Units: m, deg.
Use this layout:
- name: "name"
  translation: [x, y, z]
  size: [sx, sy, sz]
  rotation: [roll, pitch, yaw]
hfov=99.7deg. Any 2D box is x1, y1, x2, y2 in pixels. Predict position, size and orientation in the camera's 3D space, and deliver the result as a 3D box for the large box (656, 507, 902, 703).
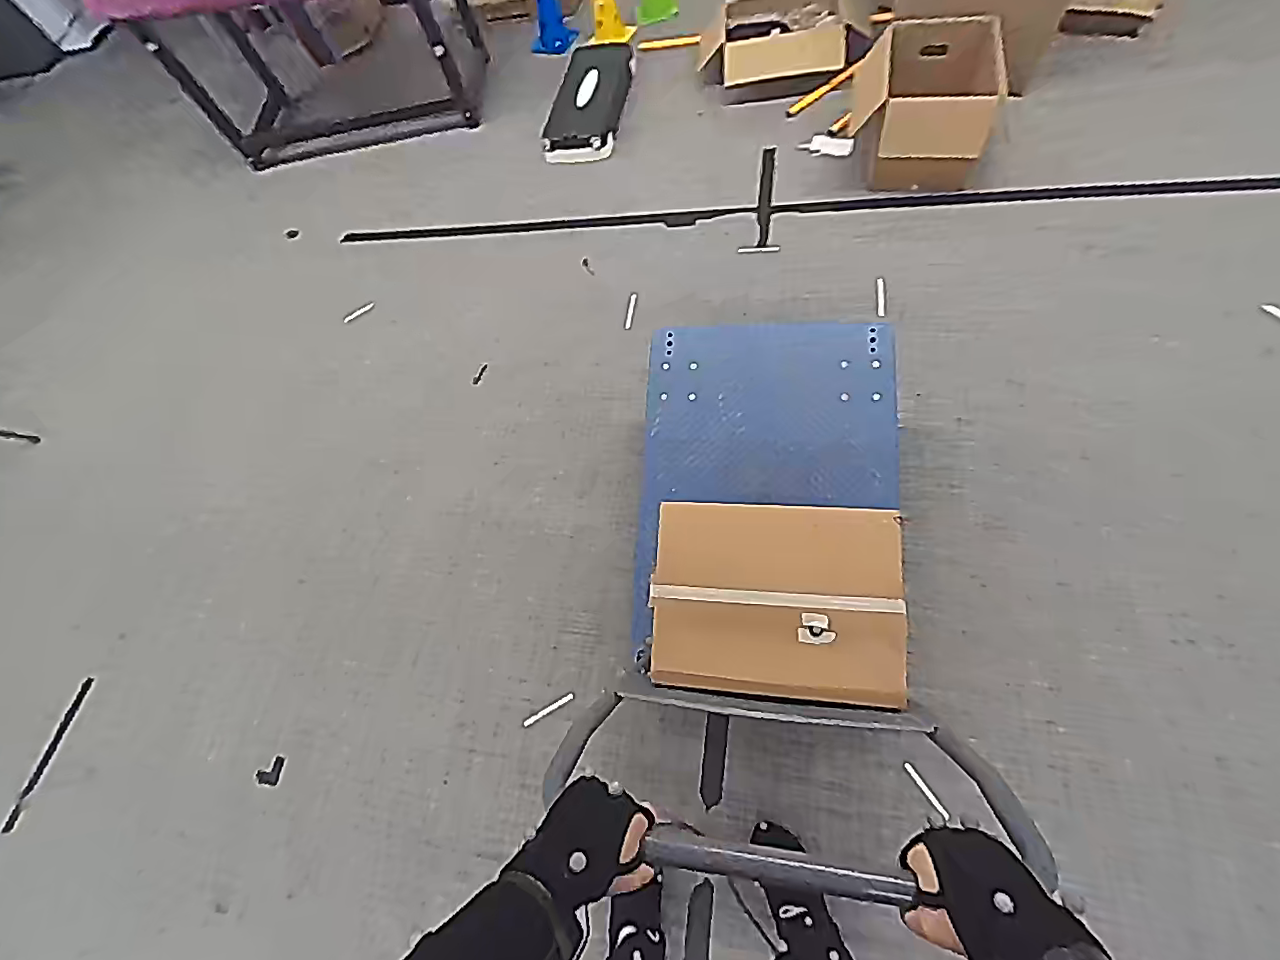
- name: "large box"
  translation: [0.251, 0.234, 1.062]
  size: [0.408, 0.320, 0.320]
  rotation: [1, 79, 10]
